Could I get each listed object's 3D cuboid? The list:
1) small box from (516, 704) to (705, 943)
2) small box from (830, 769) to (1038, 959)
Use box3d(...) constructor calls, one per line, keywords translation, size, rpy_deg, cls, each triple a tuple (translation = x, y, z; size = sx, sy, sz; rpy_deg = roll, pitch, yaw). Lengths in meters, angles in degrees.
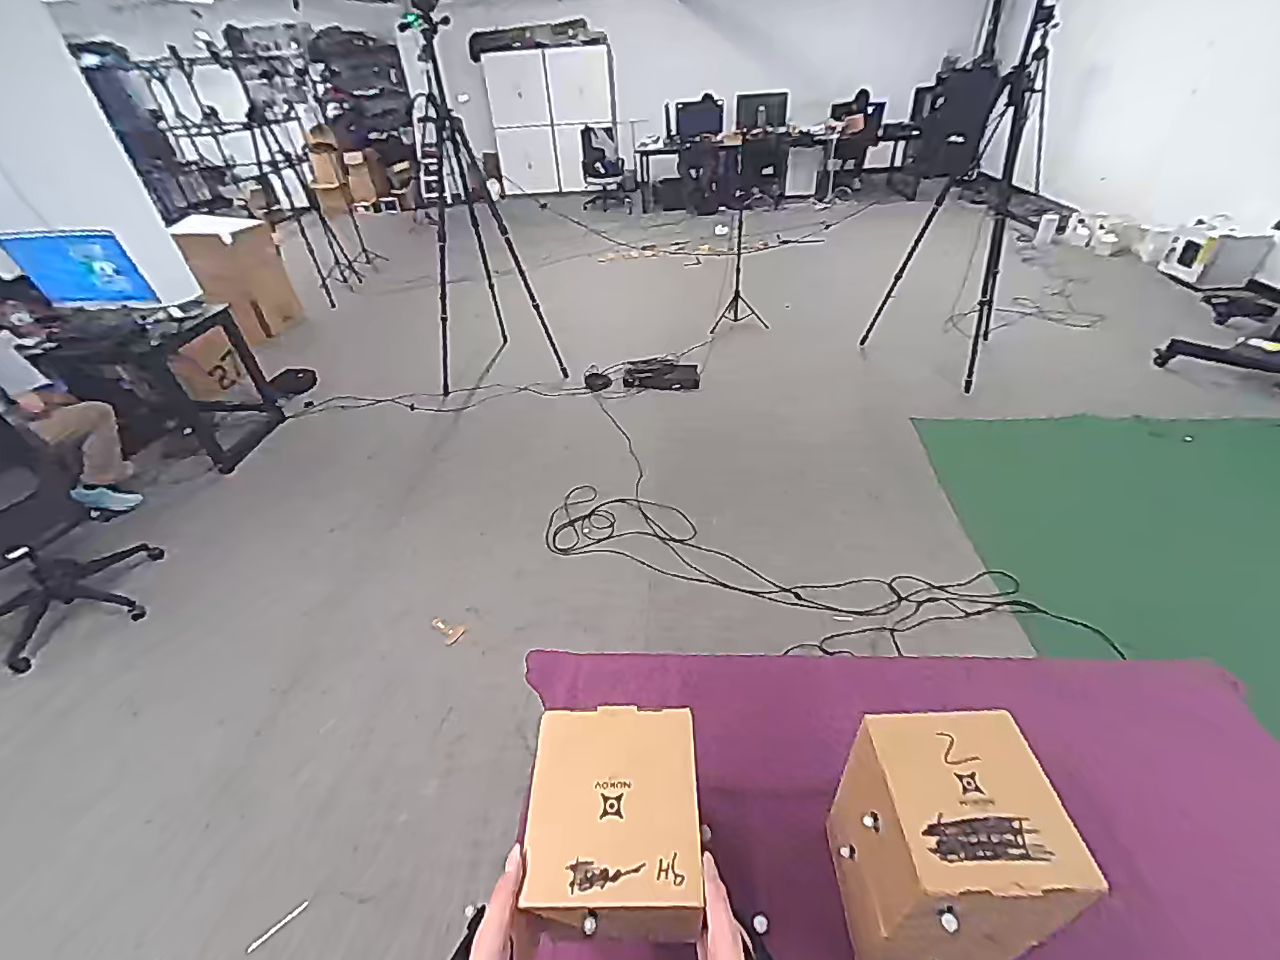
box3d(translation=(-0.021, 0.362, 0.575), size=(0.168, 0.176, 0.179), rpy_deg=(-2, 41, 3), cls="small box")
box3d(translation=(0.358, 0.503, 0.703), size=(0.168, 0.176, 0.179), rpy_deg=(-2, 38, 4), cls="small box")
